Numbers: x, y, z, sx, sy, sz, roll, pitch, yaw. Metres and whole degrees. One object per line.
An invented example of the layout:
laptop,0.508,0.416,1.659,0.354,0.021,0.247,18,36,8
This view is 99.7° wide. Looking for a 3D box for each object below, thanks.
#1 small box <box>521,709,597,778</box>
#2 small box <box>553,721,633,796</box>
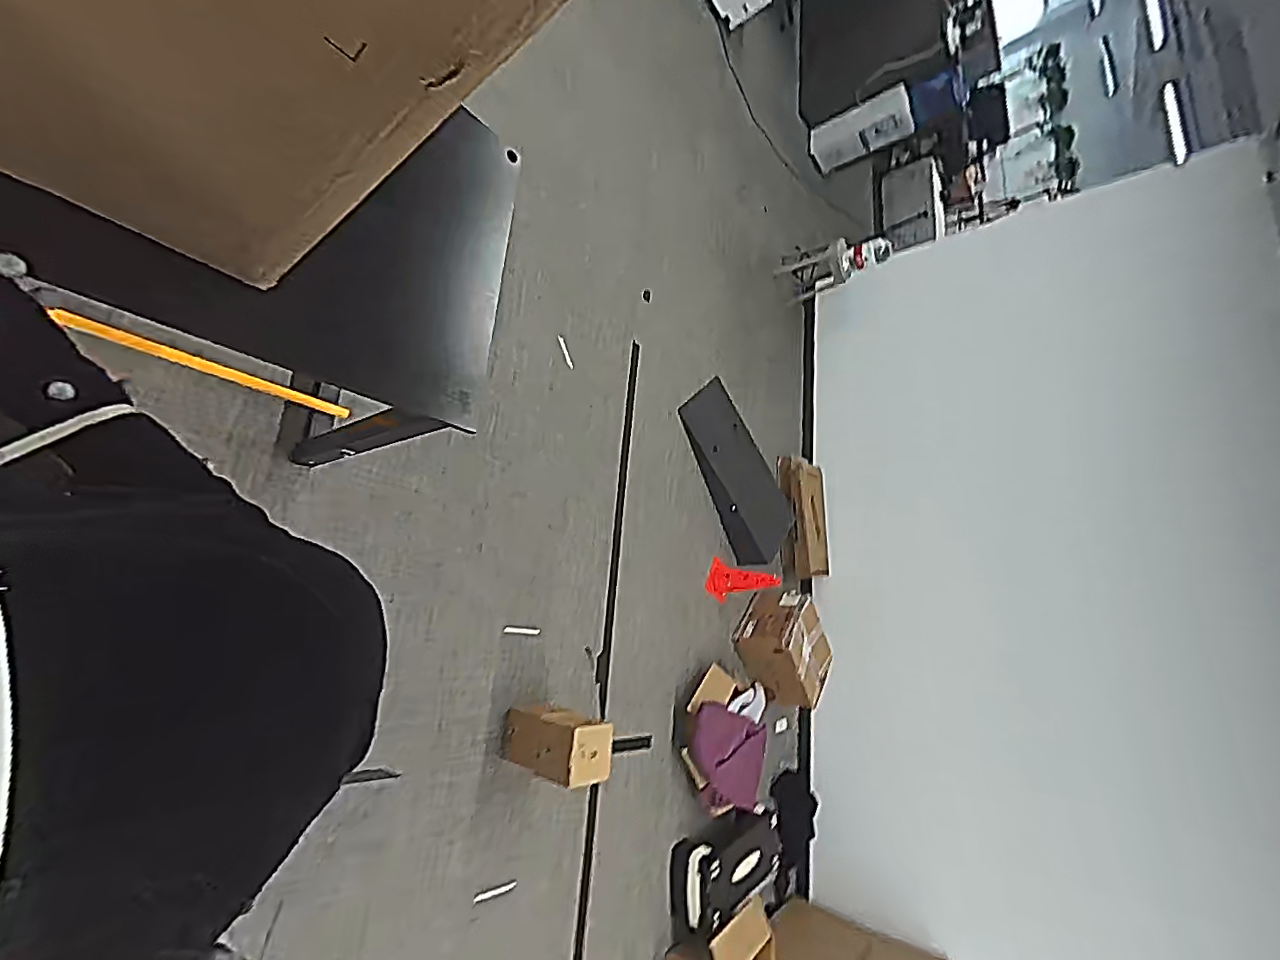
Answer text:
small box,-0.267,0.863,1.789,0.179,0.176,0.168,20,69,-47
small box,-0.144,0.854,1.678,0.179,0.176,0.168,21,68,-48
